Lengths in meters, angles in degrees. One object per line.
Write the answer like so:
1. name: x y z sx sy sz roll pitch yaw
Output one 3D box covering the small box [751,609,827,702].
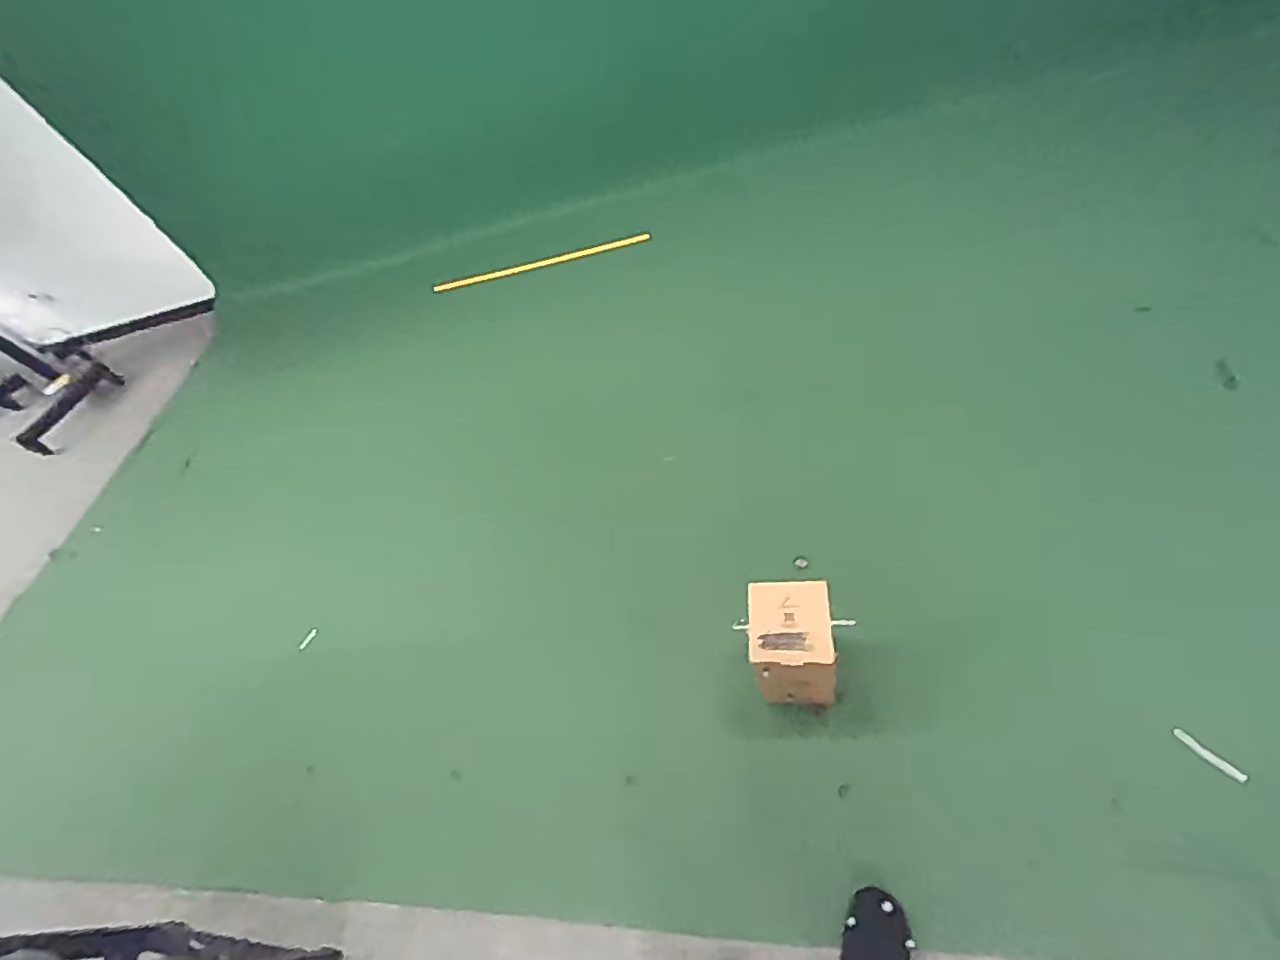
1. small box: 0.360 0.427 1.316 0.168 0.176 0.179 -4 56 16
